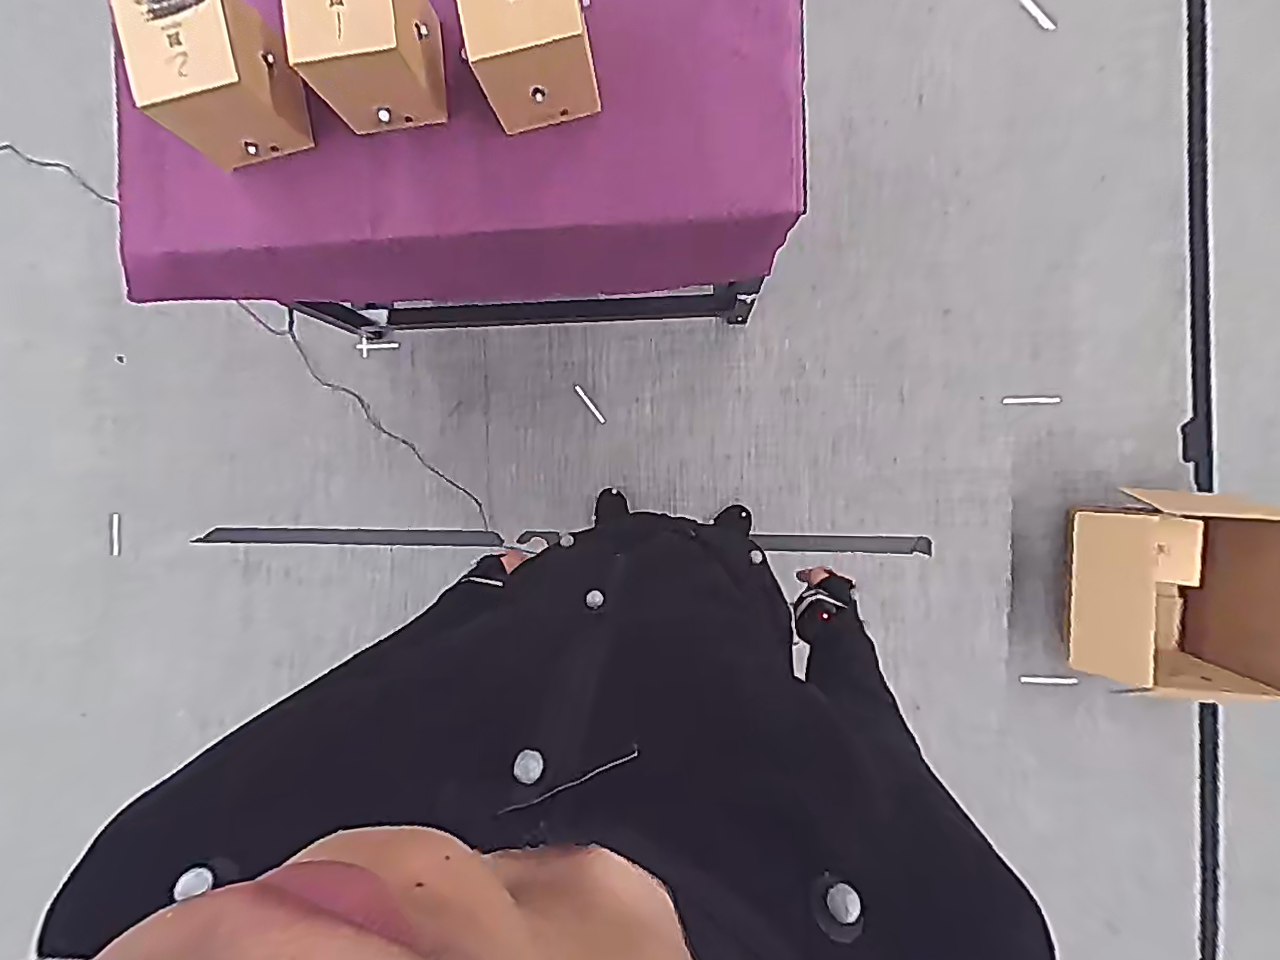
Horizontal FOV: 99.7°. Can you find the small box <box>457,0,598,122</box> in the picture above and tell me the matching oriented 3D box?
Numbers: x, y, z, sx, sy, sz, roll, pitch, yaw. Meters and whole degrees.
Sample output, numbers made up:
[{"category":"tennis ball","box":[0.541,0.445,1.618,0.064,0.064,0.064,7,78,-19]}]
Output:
[{"category":"small box","box":[-0.166,-0.681,0.819,0.168,0.176,0.179,-10,90,5]}]

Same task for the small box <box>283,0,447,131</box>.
[{"category":"small box","box":[-0.419,-0.688,0.841,0.168,0.176,0.179,-5,92,5]}]
